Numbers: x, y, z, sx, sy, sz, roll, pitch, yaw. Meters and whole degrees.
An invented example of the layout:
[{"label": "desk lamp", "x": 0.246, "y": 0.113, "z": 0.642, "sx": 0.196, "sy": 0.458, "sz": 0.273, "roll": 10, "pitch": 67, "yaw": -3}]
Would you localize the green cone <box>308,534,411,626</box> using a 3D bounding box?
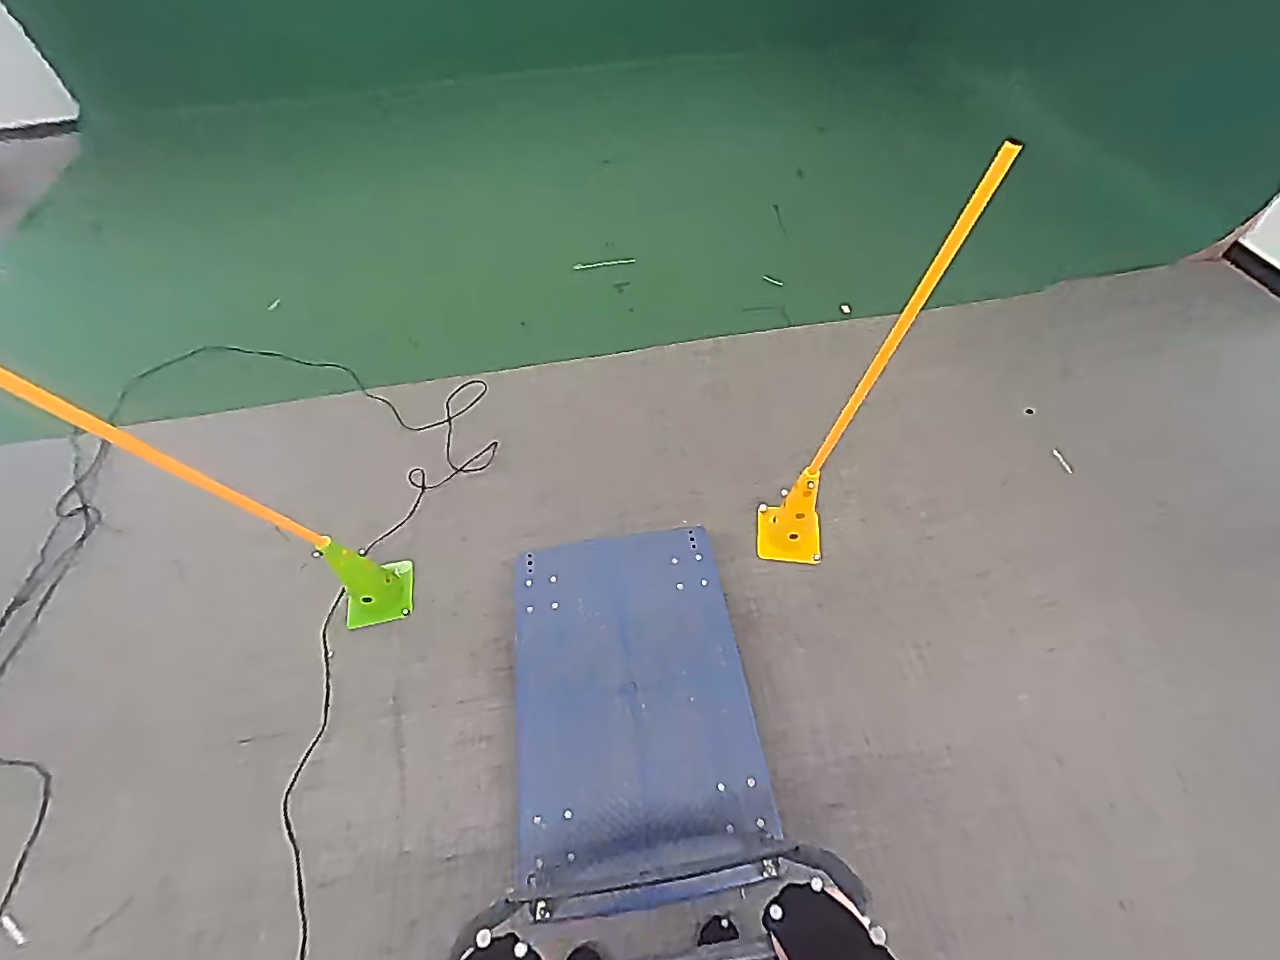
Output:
[{"label": "green cone", "x": -0.844, "y": 0.256, "z": 1.584, "sx": 0.202, "sy": 0.368, "sz": 0.200, "roll": -13, "pitch": 56, "yaw": -4}]
